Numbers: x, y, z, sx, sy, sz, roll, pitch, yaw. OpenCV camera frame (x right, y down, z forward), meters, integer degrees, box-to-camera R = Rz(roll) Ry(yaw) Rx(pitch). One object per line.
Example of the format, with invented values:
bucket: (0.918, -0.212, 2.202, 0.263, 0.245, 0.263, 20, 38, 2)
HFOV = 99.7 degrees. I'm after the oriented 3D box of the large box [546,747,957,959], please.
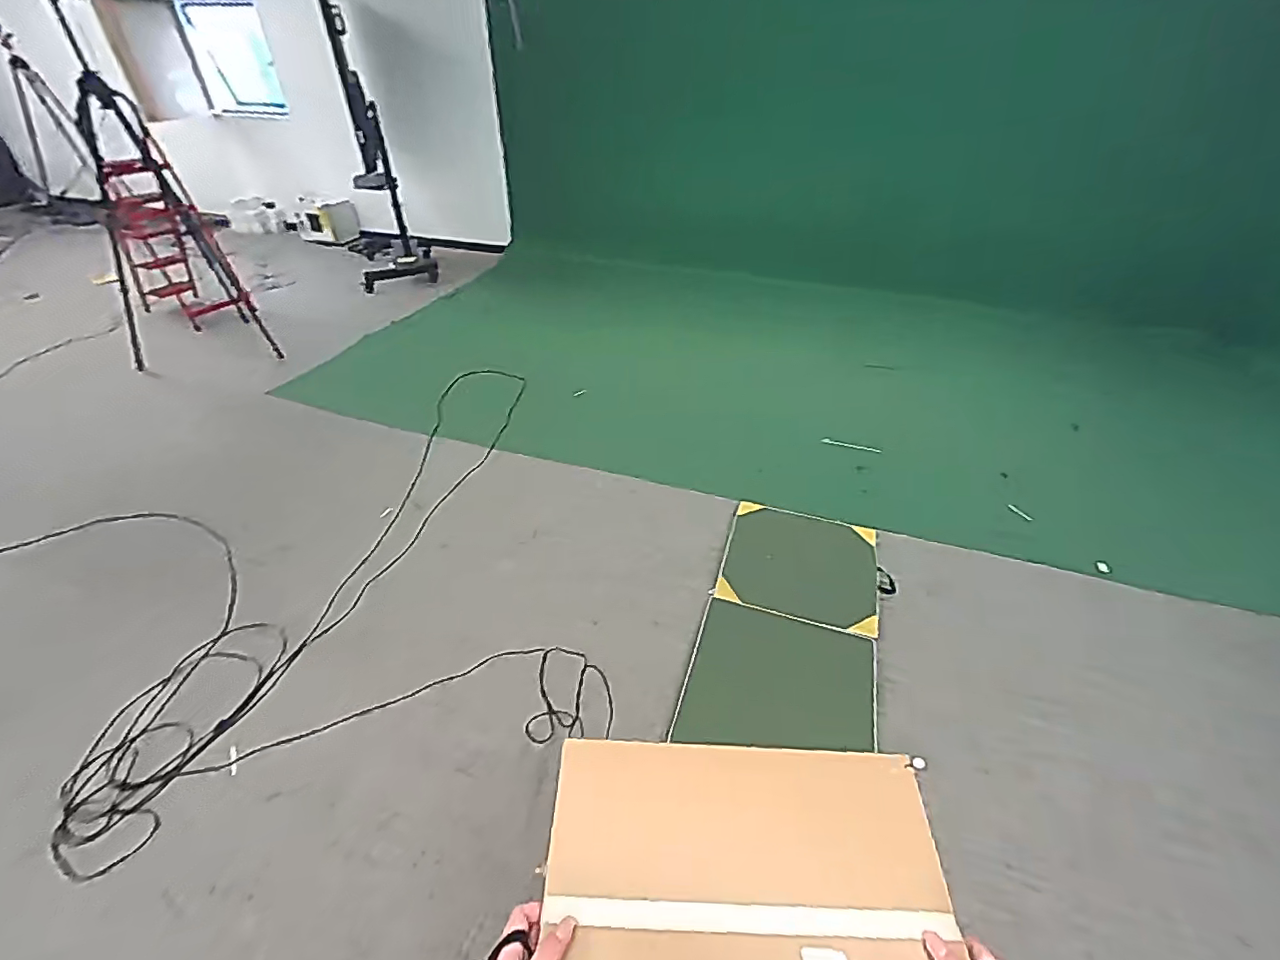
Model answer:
large box: (0.103, 0.537, 0.644, 0.408, 0.320, 0.320, 3, 48, 0)
